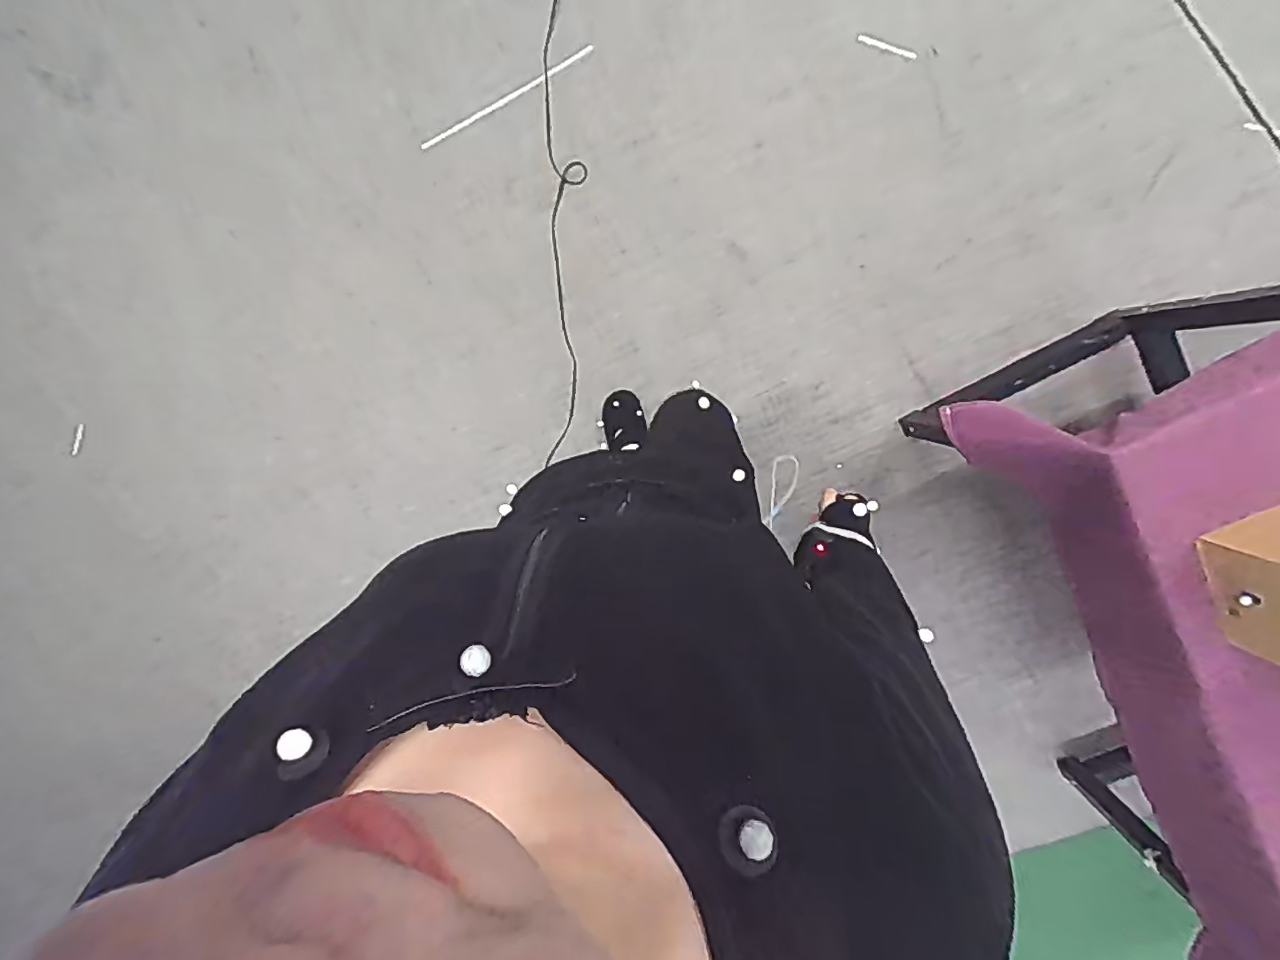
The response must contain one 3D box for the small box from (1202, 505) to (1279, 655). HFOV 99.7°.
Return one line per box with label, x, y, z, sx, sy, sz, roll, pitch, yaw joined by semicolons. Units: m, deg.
small box;0.851;0.121;0.642;0.179;0.176;0.168;-26;99;8
